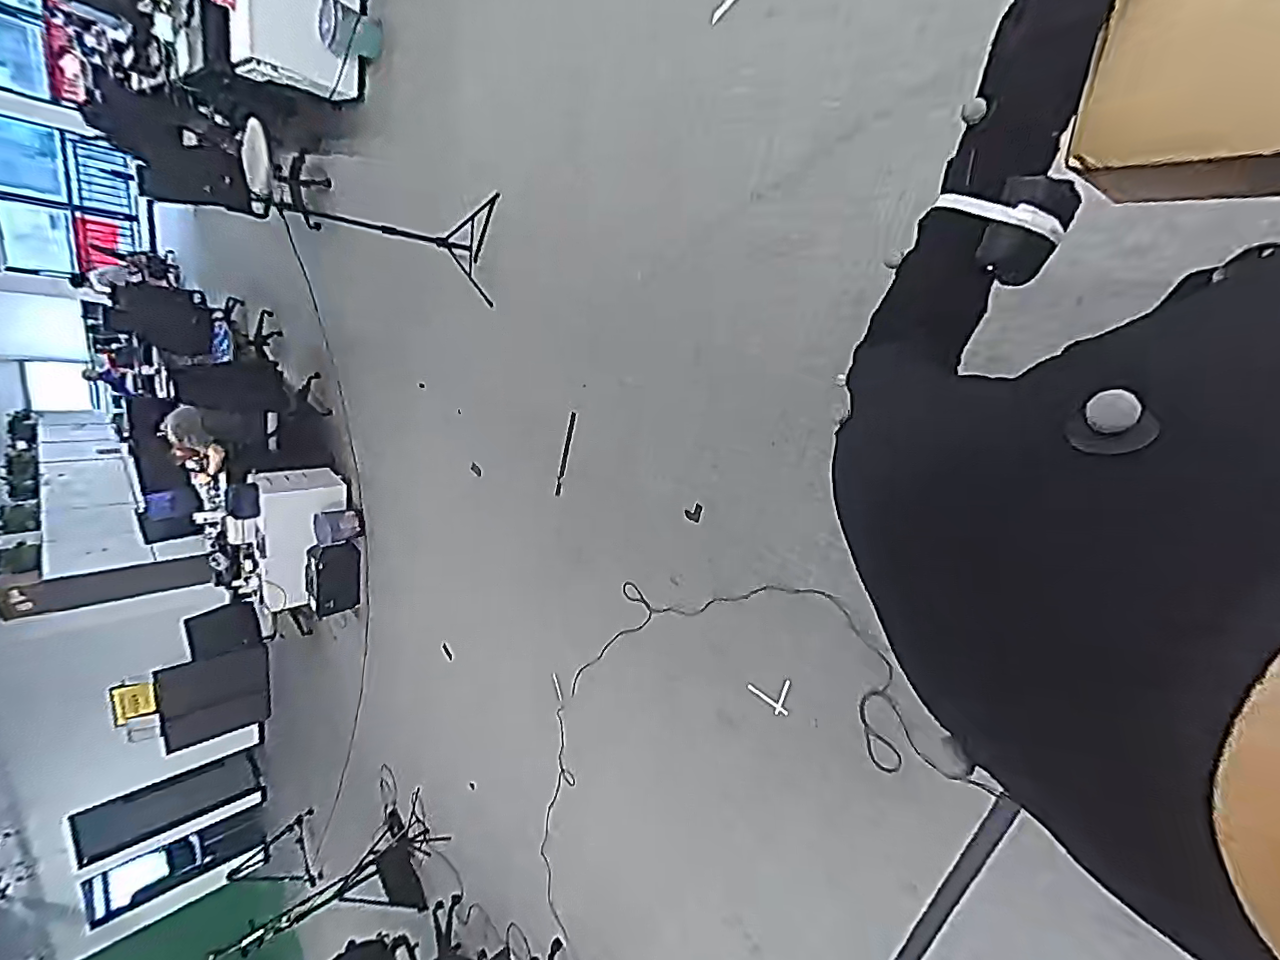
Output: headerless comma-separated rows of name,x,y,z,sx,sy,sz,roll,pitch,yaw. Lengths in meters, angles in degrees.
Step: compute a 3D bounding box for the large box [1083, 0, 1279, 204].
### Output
large box,0.556,-0.356,0.307,0.408,0.320,0.320,19,119,39
